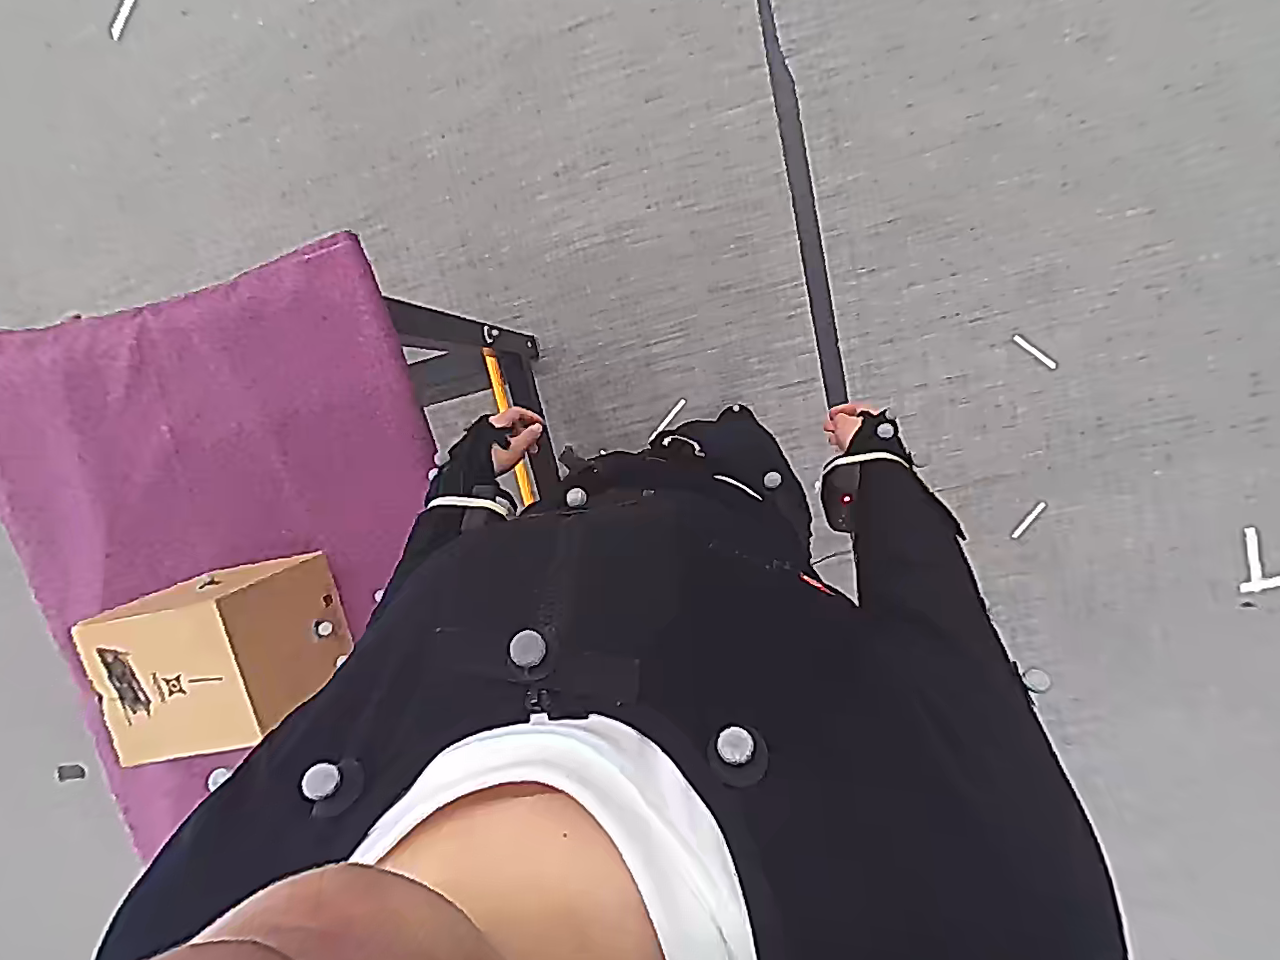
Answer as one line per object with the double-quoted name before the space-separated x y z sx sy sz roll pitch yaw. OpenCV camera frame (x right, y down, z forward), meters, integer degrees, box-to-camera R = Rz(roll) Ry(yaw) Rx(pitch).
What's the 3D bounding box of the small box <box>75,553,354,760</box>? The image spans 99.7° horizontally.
"small box" -0.485 0.198 0.643 0.179 0.176 0.168 -11 98 7
